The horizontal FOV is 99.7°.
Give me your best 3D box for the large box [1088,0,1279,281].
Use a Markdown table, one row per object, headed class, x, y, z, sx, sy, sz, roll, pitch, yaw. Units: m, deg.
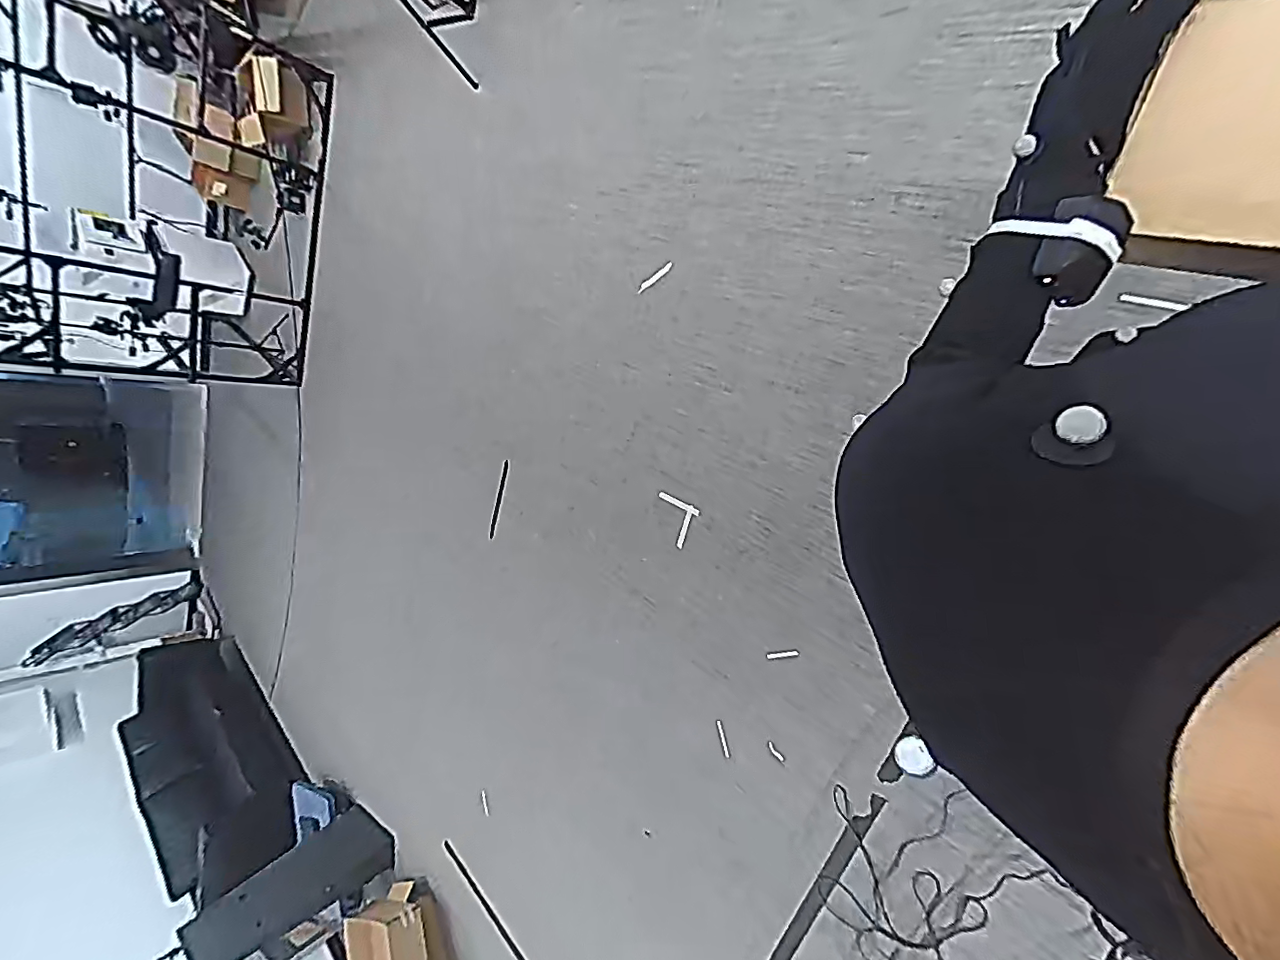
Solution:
| class | x | y | z | sx | sy | sz | roll | pitch | yaw |
| --- | --- | --- | --- | --- | --- | --- | --- | --- | --- |
| large box | 0.633 | -0.310 | 0.393 | 0.408 | 0.320 | 0.320 | 26 | 119 | 33 |
